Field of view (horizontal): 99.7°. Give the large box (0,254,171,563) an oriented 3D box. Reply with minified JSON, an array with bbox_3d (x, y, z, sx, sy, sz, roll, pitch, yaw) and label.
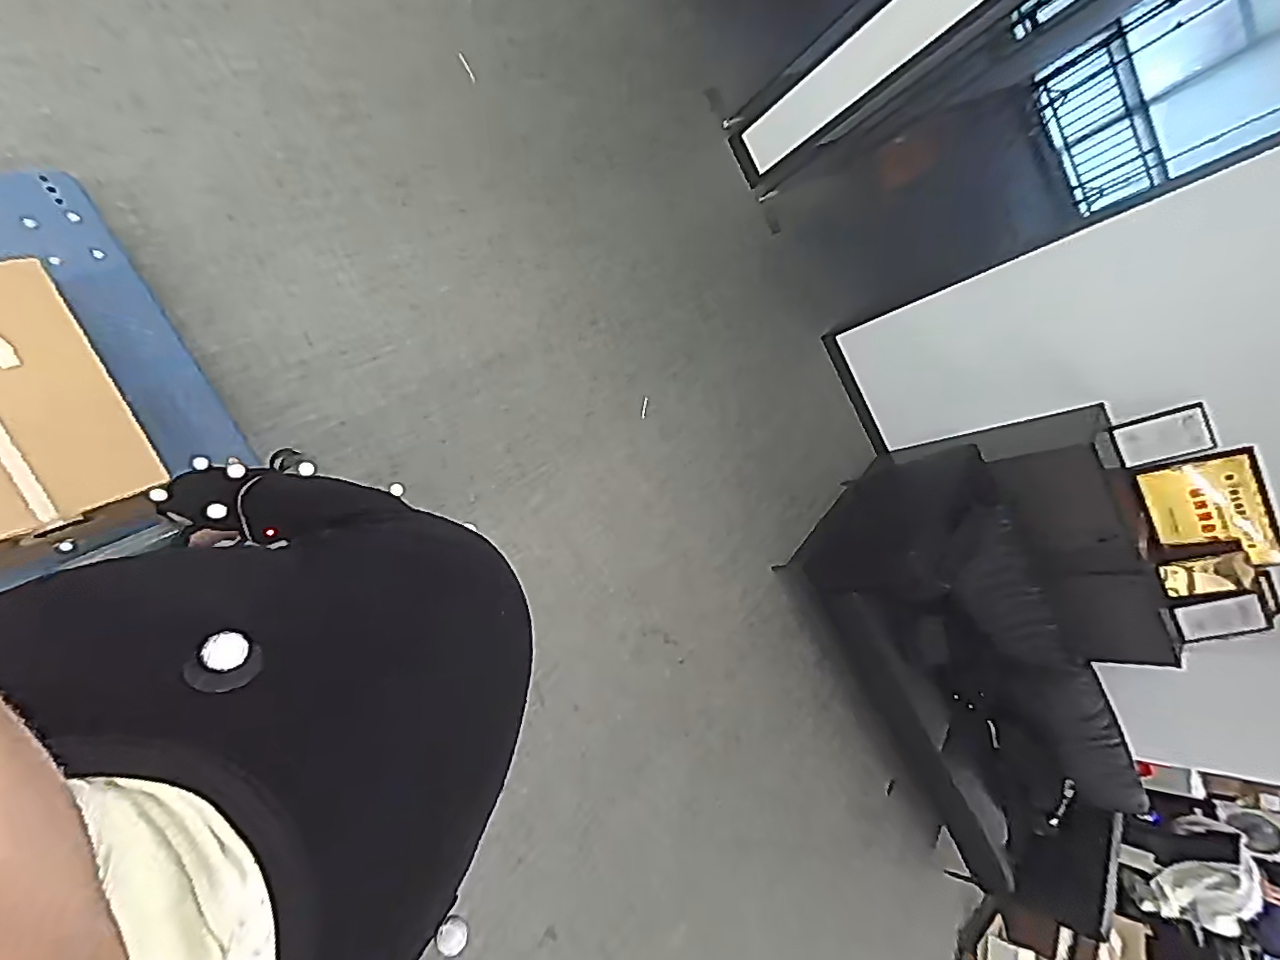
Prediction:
[{"bbox_3d":[-1.092,-0.098,0.916,0.320,0.320,0.408,-32,100,-39],"label":"large box"}]
